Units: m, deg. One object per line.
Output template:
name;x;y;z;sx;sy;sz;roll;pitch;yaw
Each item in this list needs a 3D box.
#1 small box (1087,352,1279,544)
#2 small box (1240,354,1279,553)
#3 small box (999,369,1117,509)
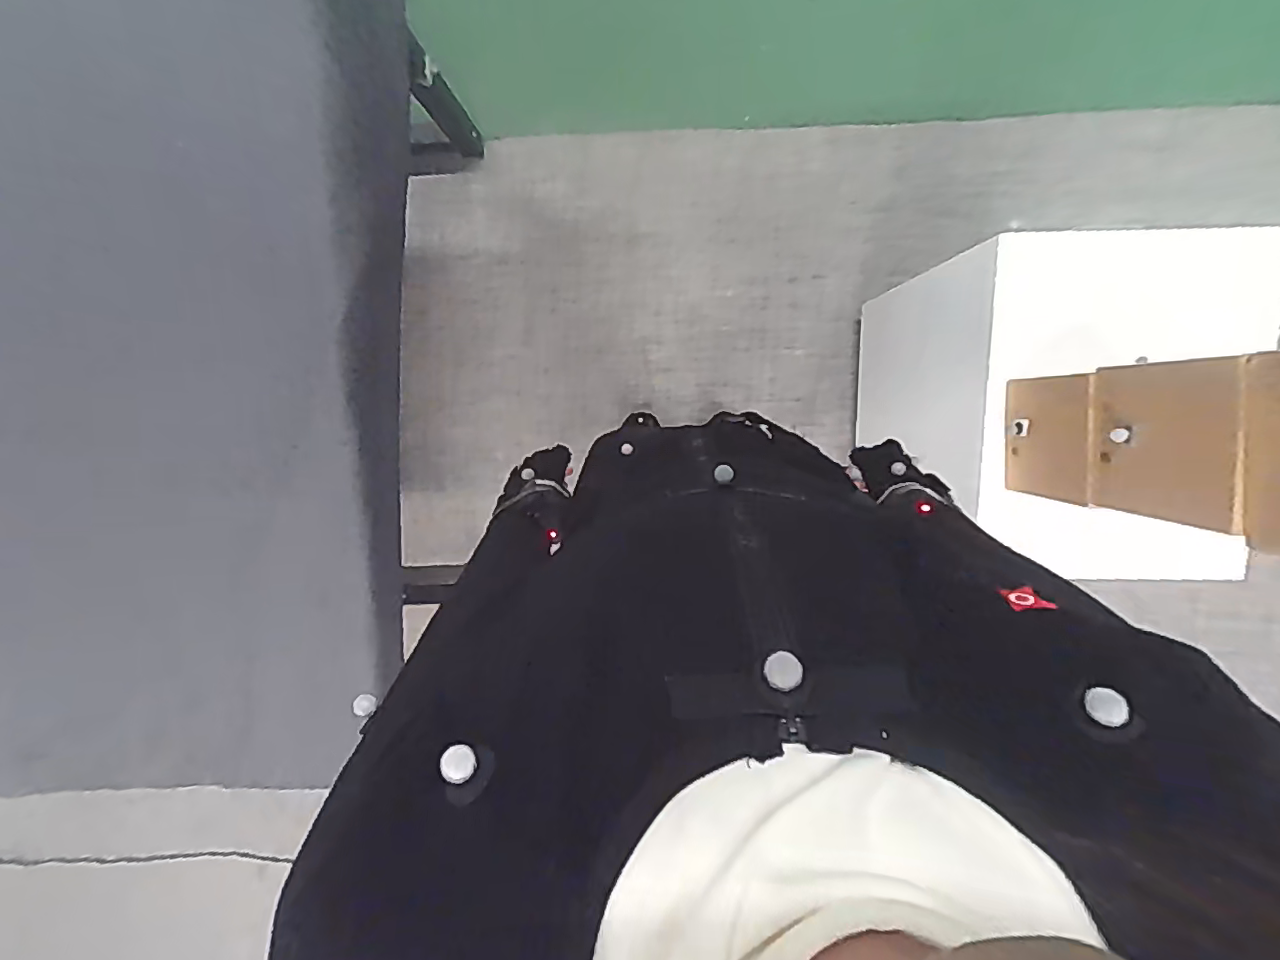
small box;0.610;-0.042;0.549;0.179;0.176;0.168;-7;97;2
small box;0.600;-0.020;0.388;0.168;0.176;0.179;-6;97;4
small box;0.613;-0.061;0.712;0.179;0.176;0.168;-4;97;5
